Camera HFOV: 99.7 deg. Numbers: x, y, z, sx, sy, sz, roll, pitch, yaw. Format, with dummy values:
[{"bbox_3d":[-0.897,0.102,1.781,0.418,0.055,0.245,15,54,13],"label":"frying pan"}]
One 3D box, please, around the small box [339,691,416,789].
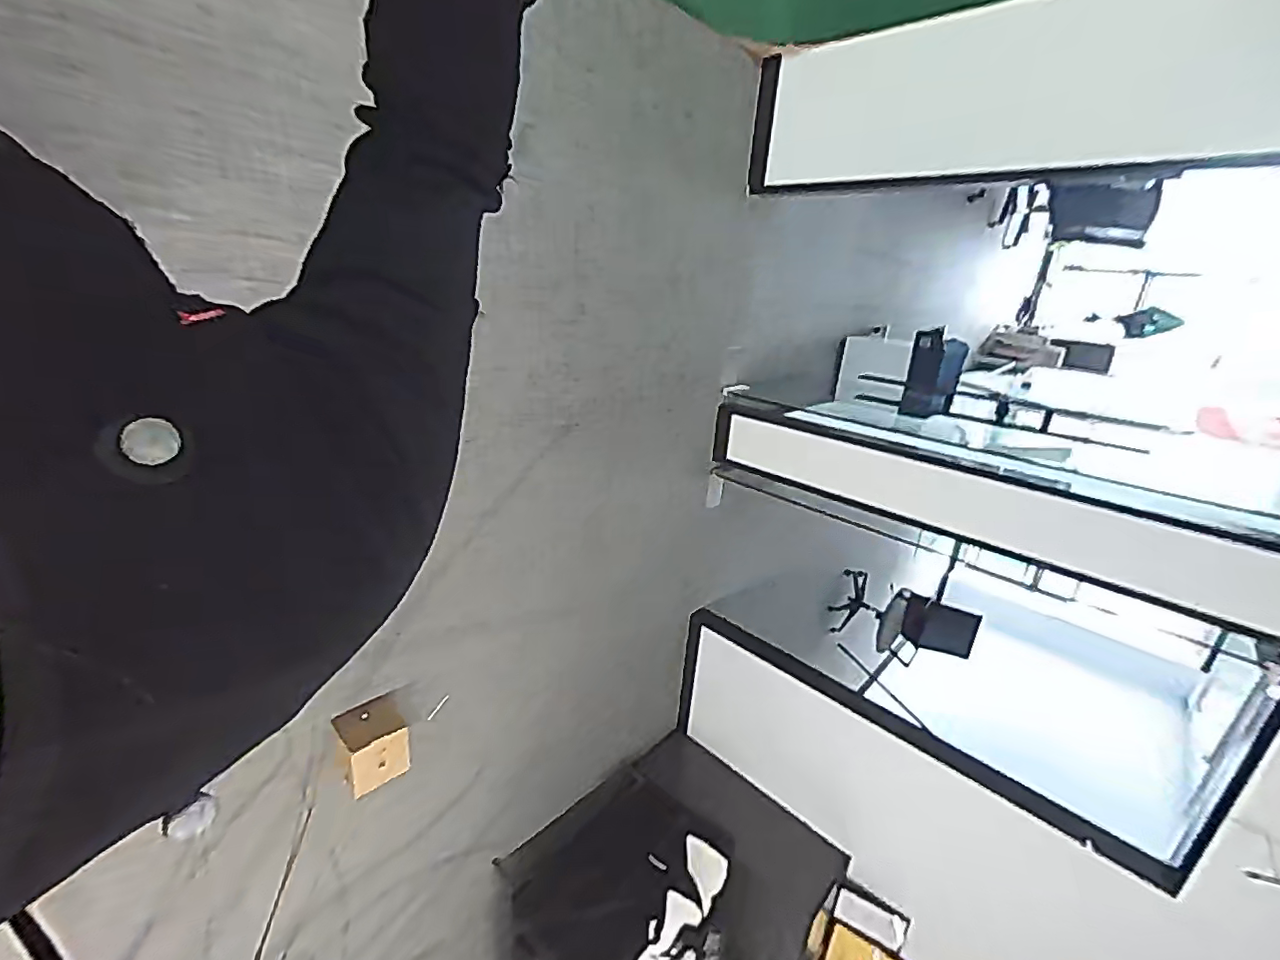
[{"bbox_3d":[-0.816,0.800,1.680,0.168,0.176,0.179,-16,118,-45],"label":"small box"}]
